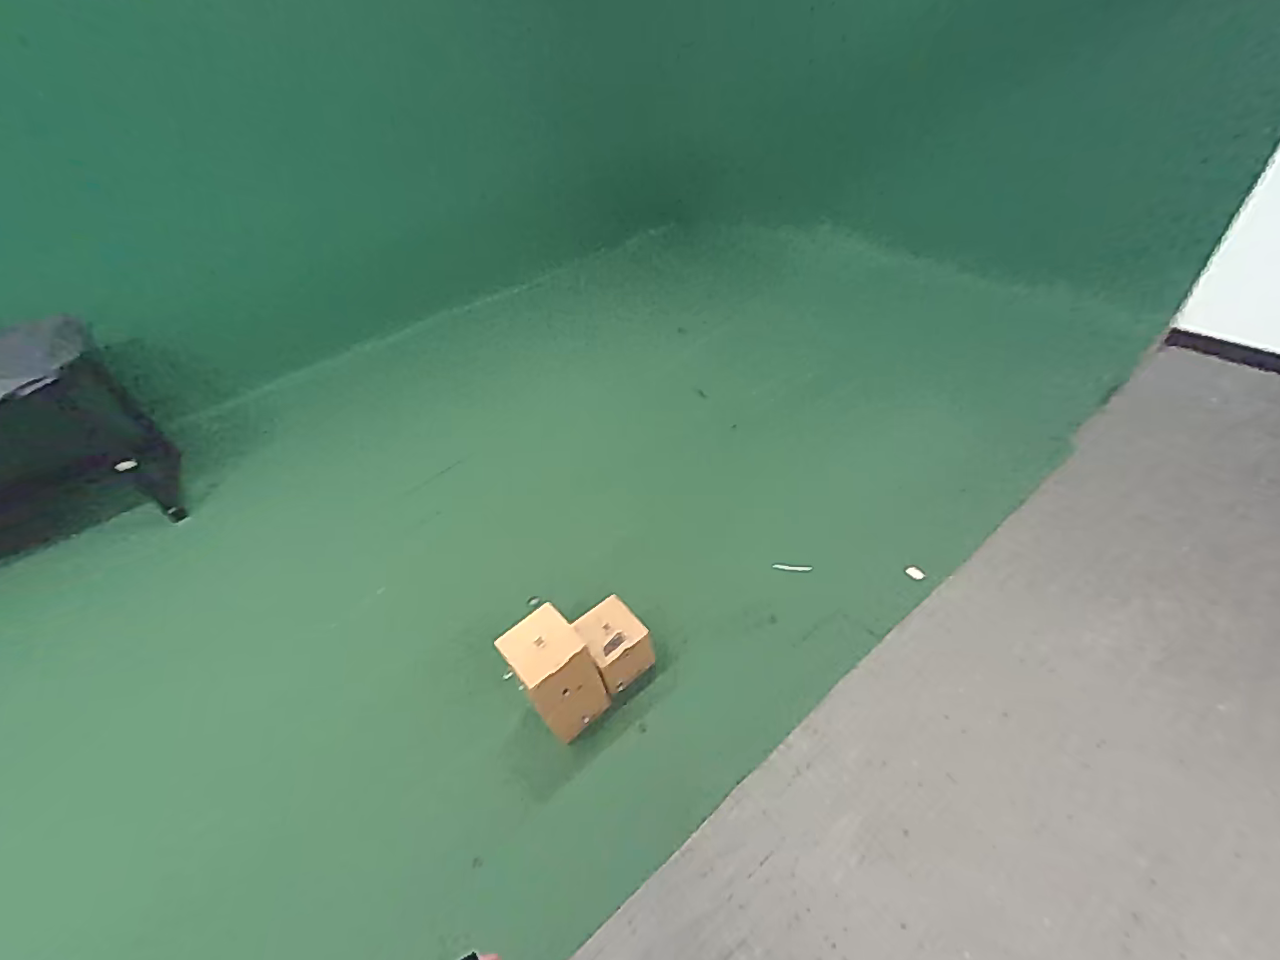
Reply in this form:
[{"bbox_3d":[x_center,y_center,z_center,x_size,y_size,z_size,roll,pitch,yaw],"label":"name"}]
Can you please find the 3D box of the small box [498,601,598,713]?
[{"bbox_3d":[-0.229,0.451,1.373,0.168,0.176,0.179,-35,50,-24],"label":"small box"}]
